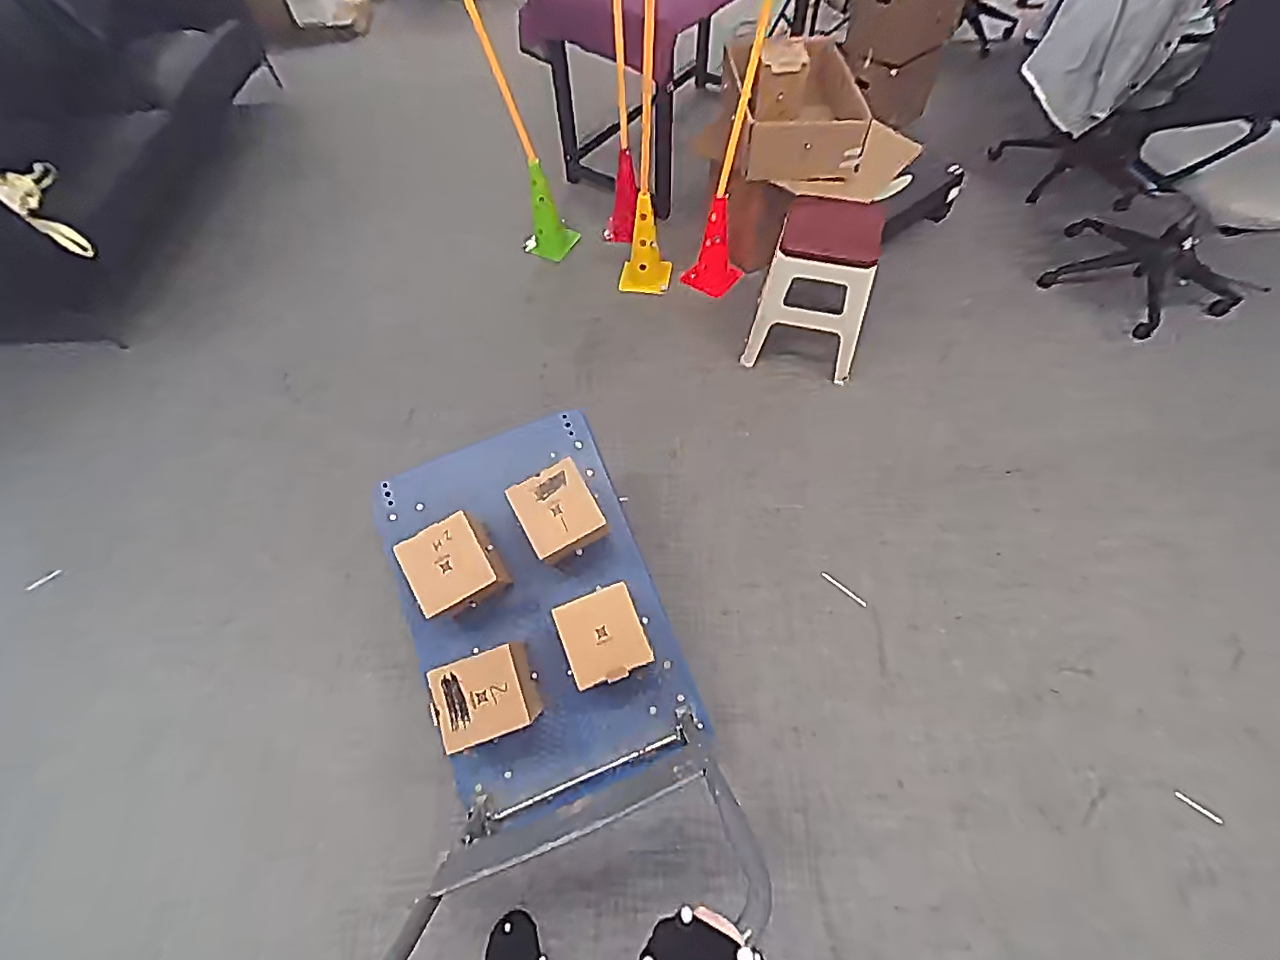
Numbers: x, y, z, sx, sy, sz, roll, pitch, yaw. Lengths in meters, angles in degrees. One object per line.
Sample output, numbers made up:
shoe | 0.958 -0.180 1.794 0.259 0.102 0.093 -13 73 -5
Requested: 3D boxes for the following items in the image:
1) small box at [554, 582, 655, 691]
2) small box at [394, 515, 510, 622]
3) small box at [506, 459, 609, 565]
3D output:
small box | -0.078 0.340 1.193 0.168 0.176 0.179 -22 79 -6
small box | -0.414 0.201 1.219 0.168 0.176 0.179 -29 79 -8
small box | -0.184 0.081 1.251 0.168 0.176 0.179 -29 79 -7
